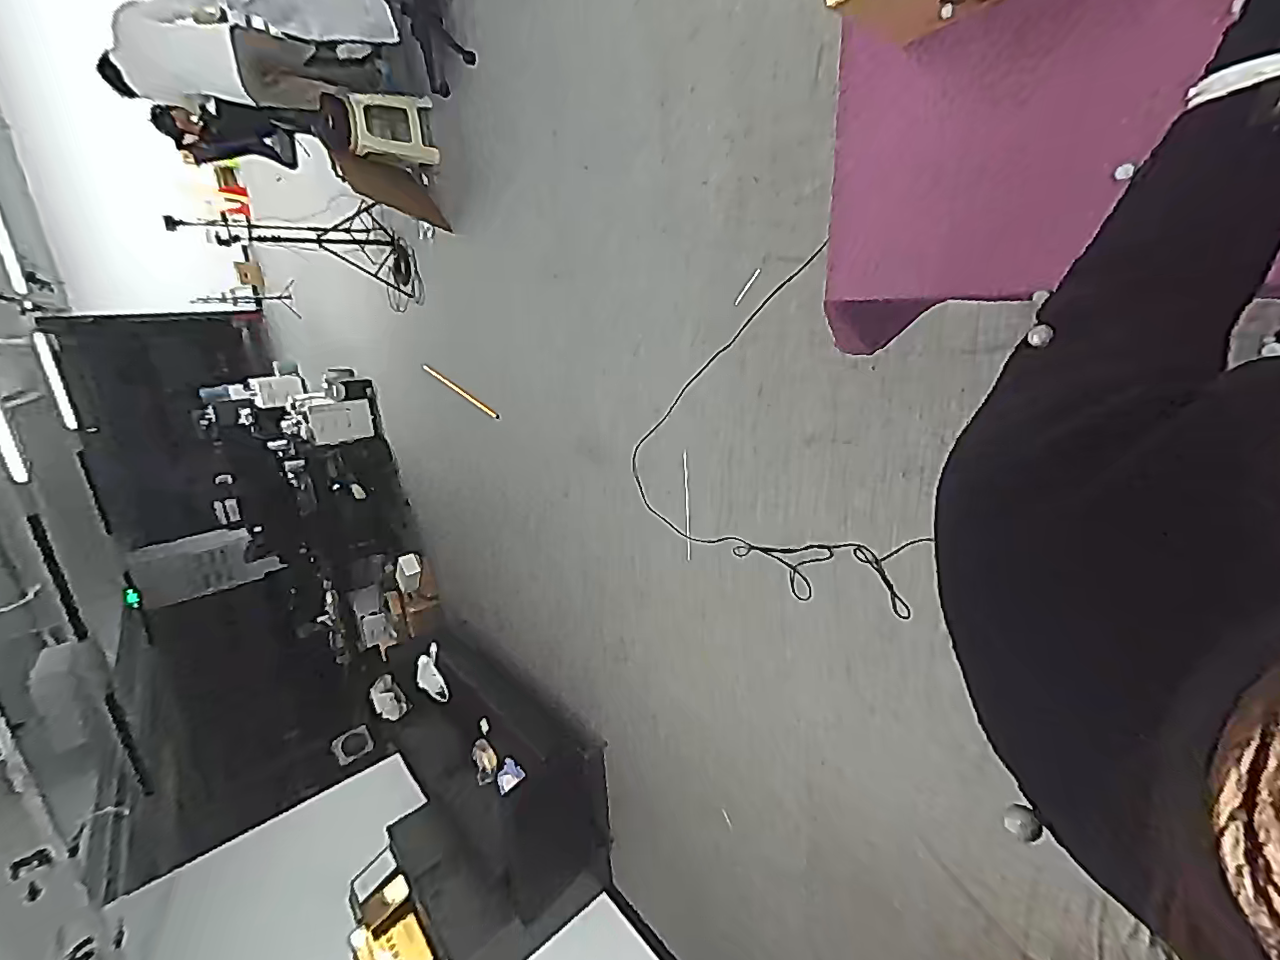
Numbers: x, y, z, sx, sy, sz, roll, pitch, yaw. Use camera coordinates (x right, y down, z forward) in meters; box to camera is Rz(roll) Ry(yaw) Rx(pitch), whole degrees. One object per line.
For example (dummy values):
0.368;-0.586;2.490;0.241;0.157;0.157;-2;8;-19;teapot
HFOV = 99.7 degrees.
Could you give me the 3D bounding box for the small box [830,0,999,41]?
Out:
0.309;-0.601;0.550;0.168;0.176;0.179;11;112;49;small box
